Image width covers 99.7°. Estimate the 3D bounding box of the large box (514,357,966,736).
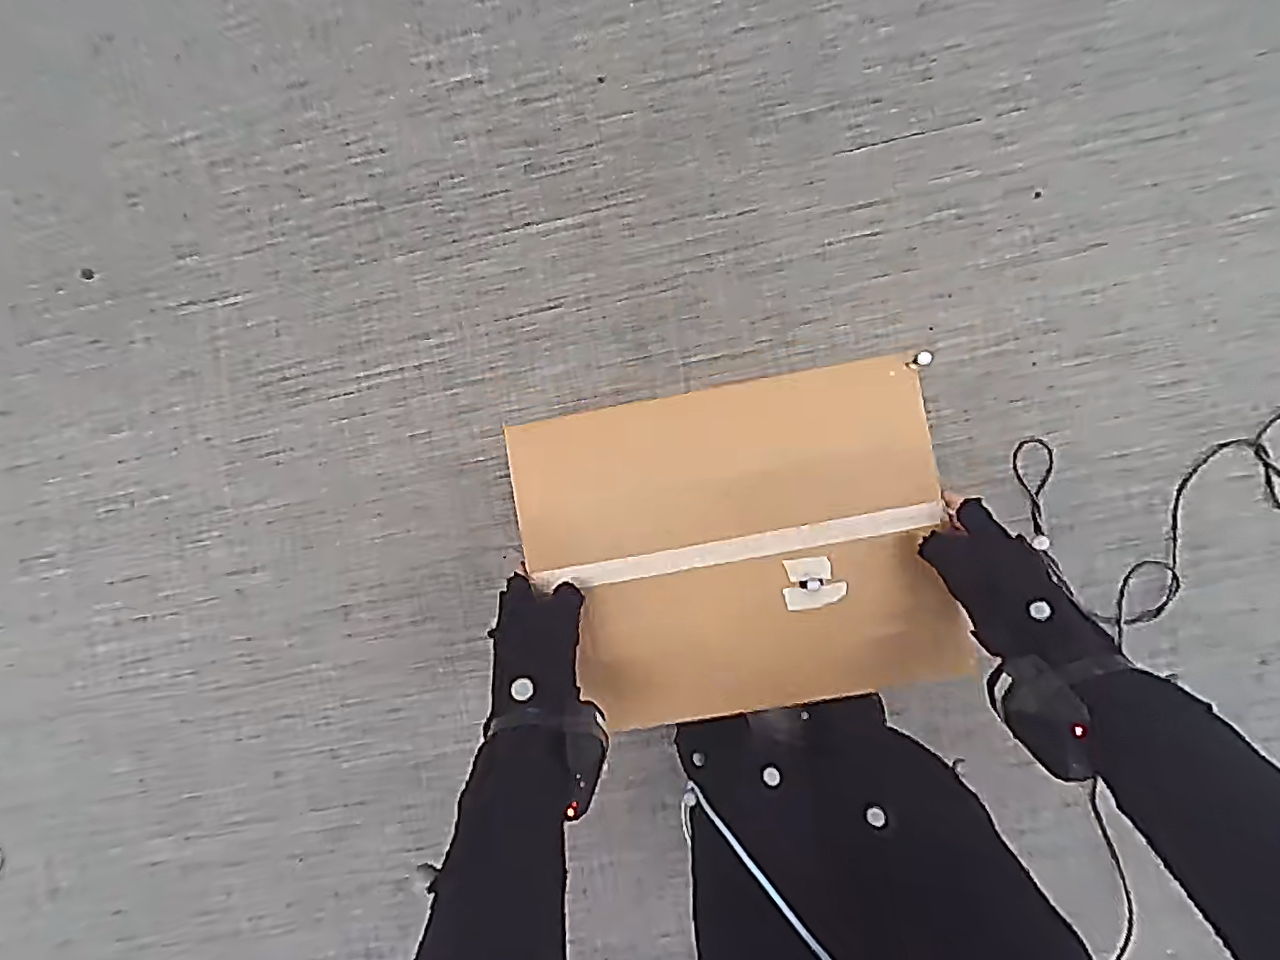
[{"bbox_3d":[0.099,0.072,0.682,0.408,0.320,0.320,-11,89,2],"label":"large box"}]
